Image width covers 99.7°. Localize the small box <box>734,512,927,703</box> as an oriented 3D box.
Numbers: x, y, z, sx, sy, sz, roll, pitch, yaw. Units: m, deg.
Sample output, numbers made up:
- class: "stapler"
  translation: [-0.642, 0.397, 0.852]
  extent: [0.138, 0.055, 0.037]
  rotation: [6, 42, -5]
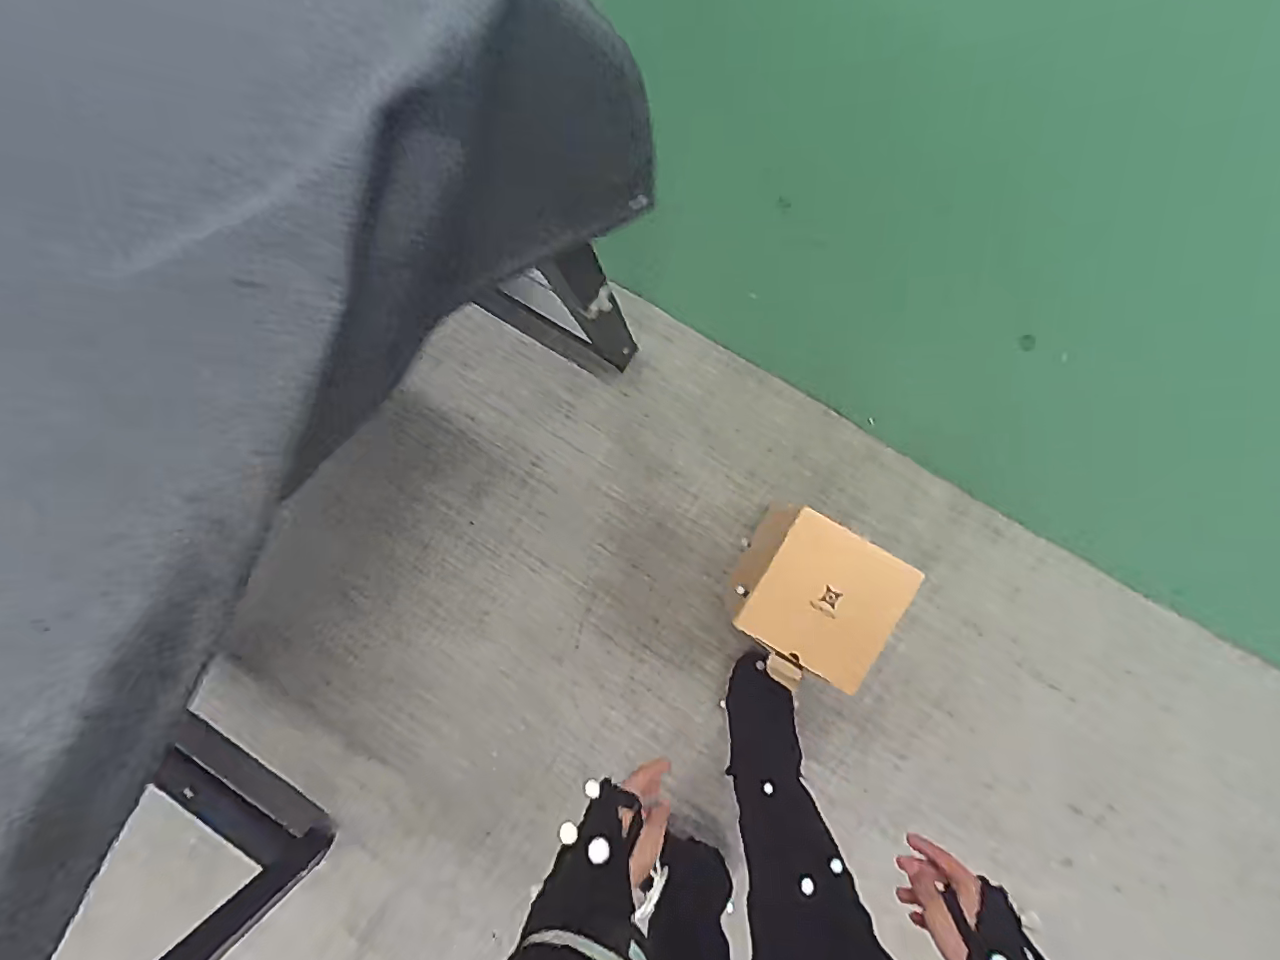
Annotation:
- class: "small box"
  translation: [0.237, 0.155, 0.728]
  extent: [0.168, 0.176, 0.179]
  rotation: [30, 91, 6]
